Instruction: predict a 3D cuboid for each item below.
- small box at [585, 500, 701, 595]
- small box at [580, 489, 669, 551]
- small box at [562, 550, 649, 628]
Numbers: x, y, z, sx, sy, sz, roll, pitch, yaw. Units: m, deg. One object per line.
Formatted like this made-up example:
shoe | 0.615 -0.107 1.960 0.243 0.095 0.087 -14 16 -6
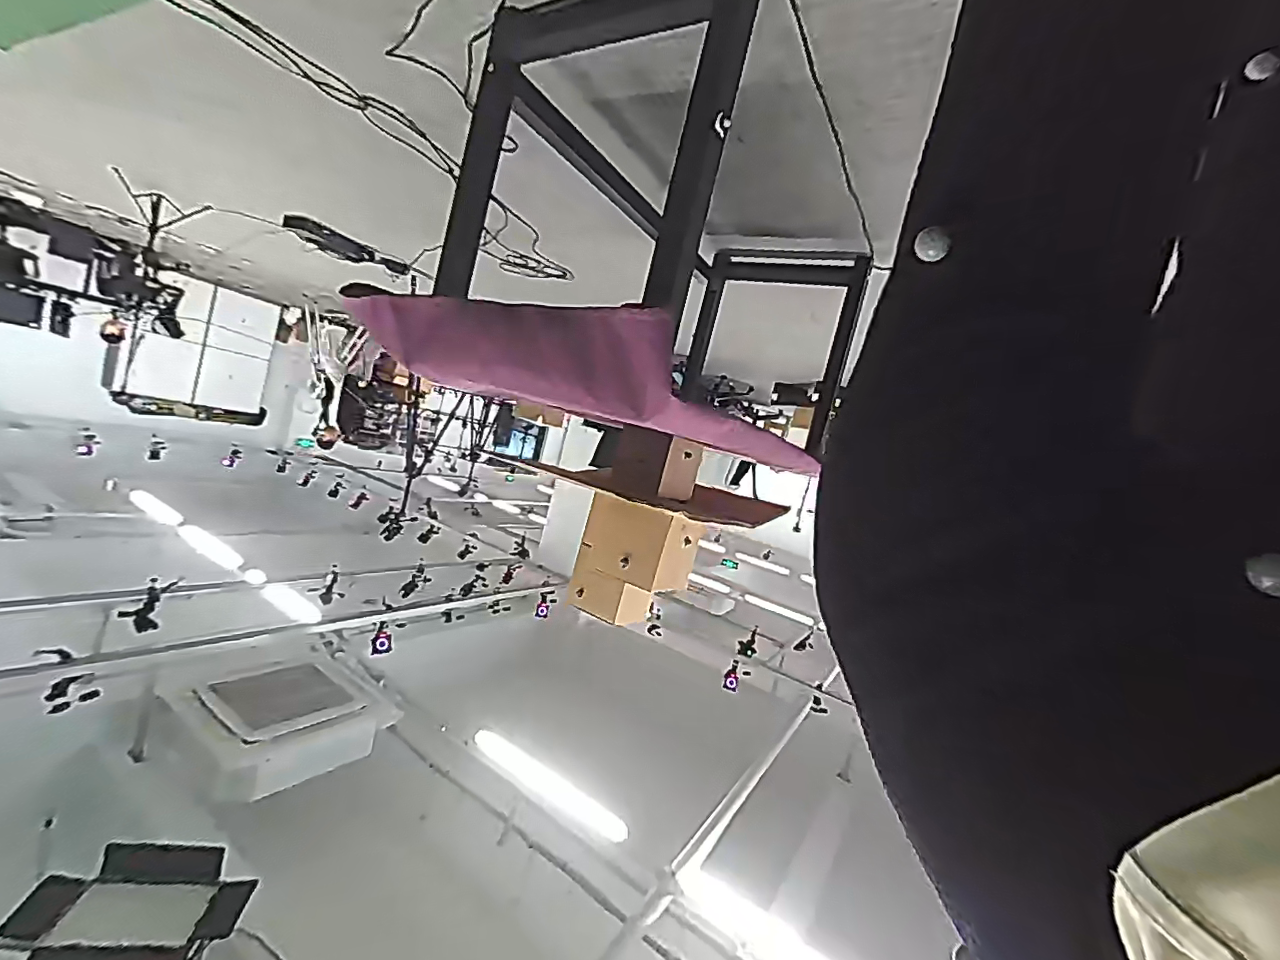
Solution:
small box | 0.010 0.142 1.195 0.179 0.176 0.168 15 -179 32
small box | -0.032 0.128 1.471 0.179 0.176 0.168 17 -179 32
small box | -0.079 0.286 1.475 0.179 0.176 0.168 15 180 32
